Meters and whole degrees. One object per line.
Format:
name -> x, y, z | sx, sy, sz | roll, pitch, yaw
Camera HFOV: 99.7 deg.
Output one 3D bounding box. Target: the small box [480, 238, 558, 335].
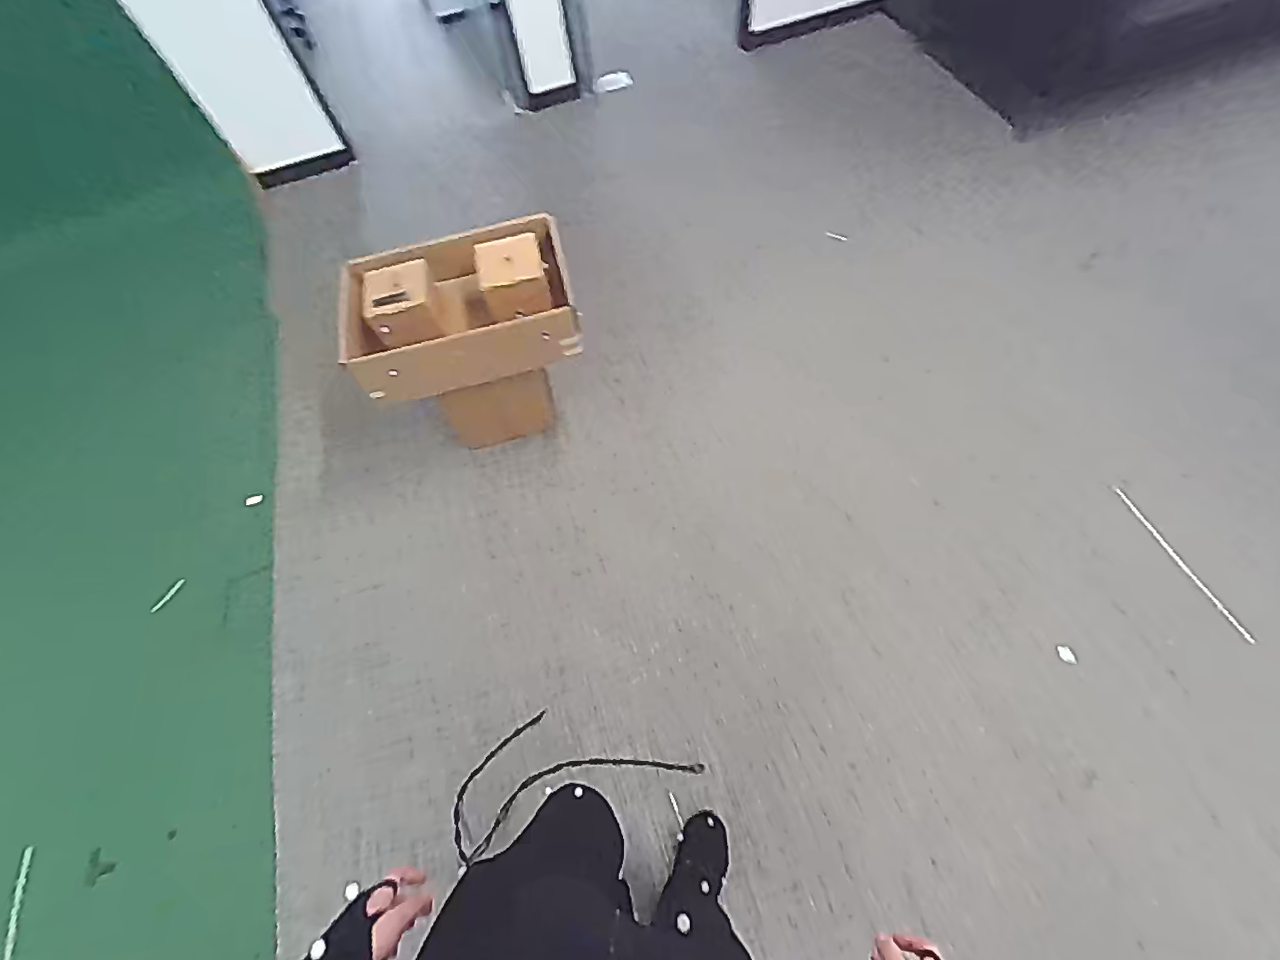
small box -> -0.338, -0.542, 1.522 | 0.168, 0.176, 0.179 | -14, 63, -1
